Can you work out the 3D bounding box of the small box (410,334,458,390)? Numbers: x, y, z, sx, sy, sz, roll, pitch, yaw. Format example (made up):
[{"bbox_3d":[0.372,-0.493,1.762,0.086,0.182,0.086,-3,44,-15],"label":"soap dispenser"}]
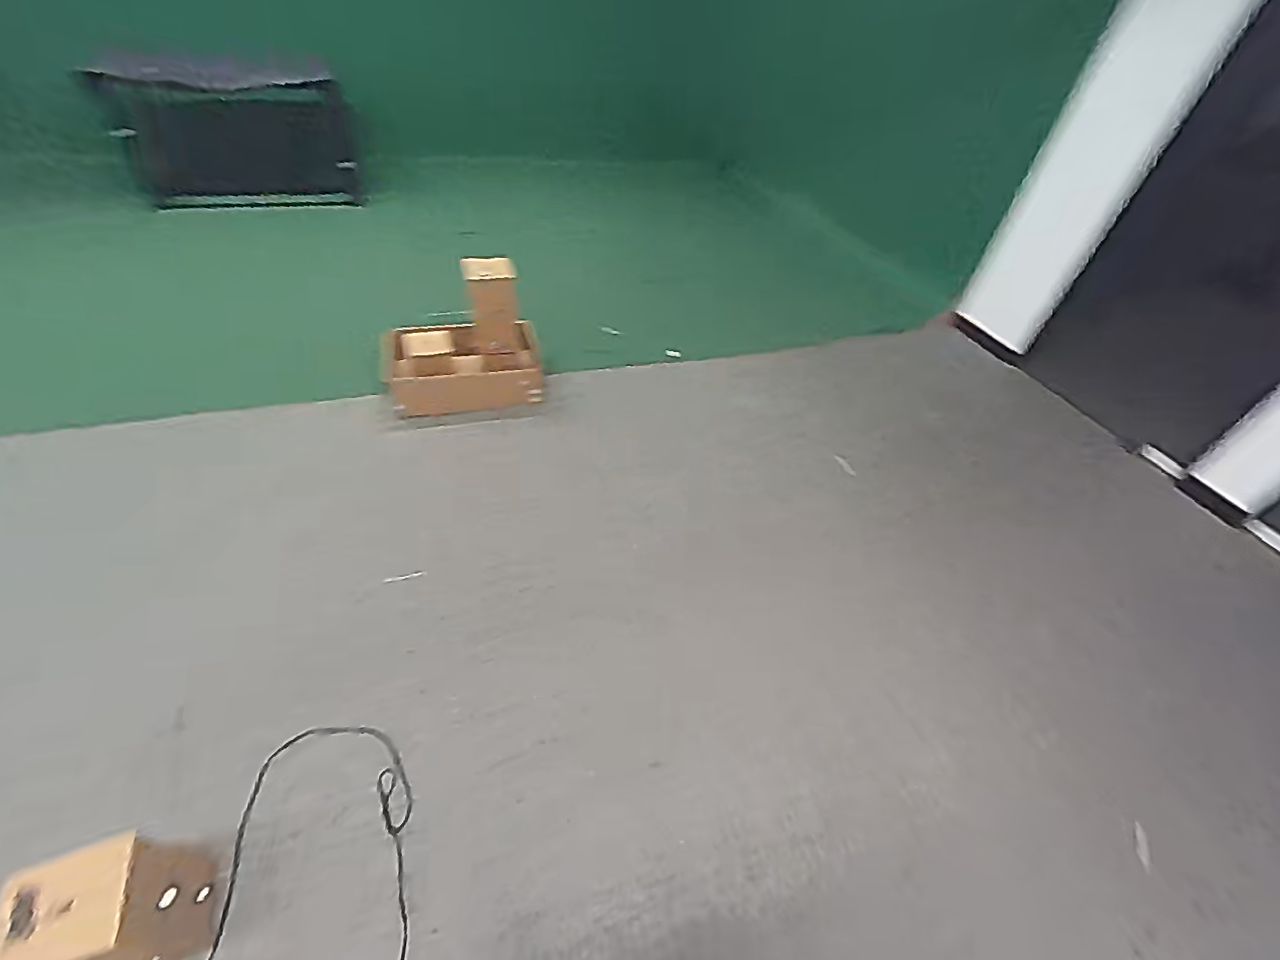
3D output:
[{"bbox_3d":[-0.890,-0.509,2.334,0.168,0.176,0.179,-10,49,-19],"label":"small box"}]

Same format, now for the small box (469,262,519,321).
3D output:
[{"bbox_3d":[-0.582,-0.751,2.153,0.168,0.176,0.179,-9,47,-15],"label":"small box"}]

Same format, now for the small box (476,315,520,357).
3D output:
[{"bbox_3d":[-0.597,-0.637,2.271,0.168,0.176,0.179,-7,49,-13],"label":"small box"}]

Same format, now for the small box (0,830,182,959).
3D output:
[{"bbox_3d":[-0.932,0.736,0.915,0.179,0.176,0.168,-12,48,-20],"label":"small box"}]

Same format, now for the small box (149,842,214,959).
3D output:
[{"bbox_3d":[-0.957,0.841,1.040,0.179,0.176,0.168,-16,48,-21],"label":"small box"}]
